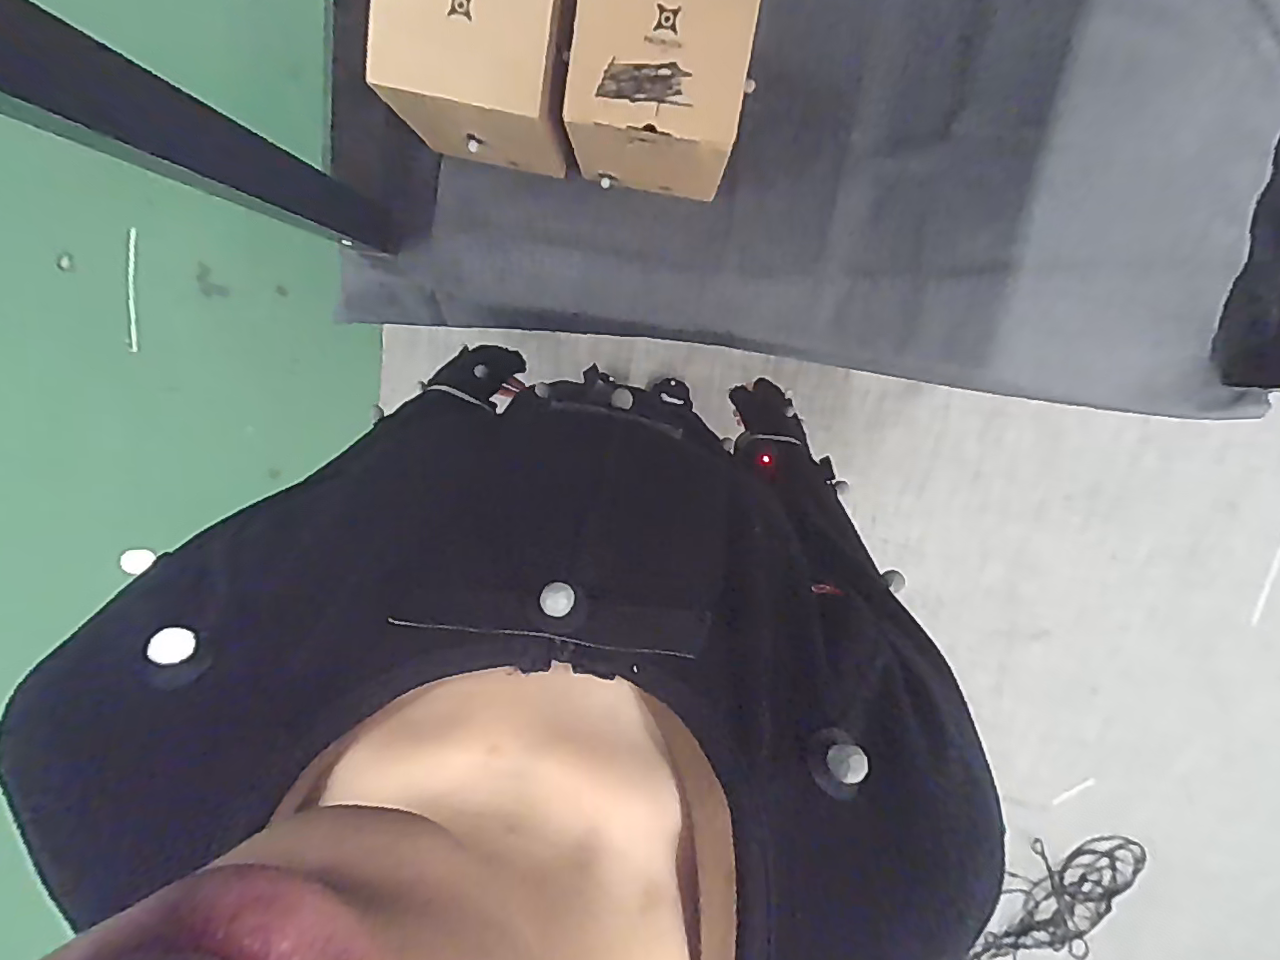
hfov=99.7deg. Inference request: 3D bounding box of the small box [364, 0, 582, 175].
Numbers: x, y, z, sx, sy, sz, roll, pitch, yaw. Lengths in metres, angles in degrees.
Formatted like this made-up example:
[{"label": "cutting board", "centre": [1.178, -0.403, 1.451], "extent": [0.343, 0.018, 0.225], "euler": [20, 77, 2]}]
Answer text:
[{"label": "small box", "centre": [-0.158, -0.447, 0.561], "extent": [0.168, 0.176, 0.179], "euler": [11, 102, -3]}]
